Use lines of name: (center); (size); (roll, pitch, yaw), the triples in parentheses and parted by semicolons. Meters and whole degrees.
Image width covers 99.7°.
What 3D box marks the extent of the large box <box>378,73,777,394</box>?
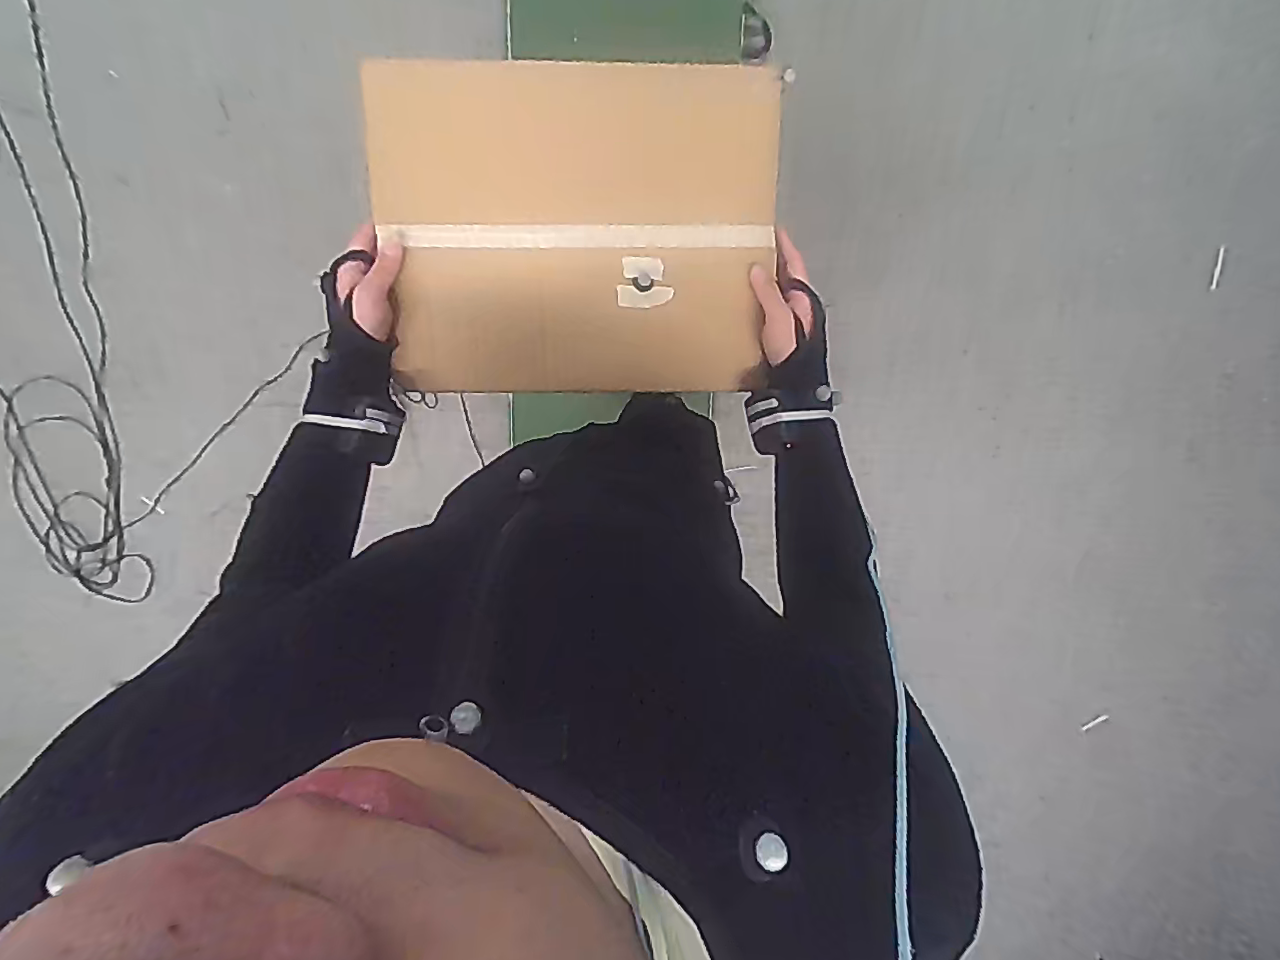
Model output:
large box: (-0.066, -0.280, 0.711); (0.408, 0.320, 0.320); (-1, 103, -3)
